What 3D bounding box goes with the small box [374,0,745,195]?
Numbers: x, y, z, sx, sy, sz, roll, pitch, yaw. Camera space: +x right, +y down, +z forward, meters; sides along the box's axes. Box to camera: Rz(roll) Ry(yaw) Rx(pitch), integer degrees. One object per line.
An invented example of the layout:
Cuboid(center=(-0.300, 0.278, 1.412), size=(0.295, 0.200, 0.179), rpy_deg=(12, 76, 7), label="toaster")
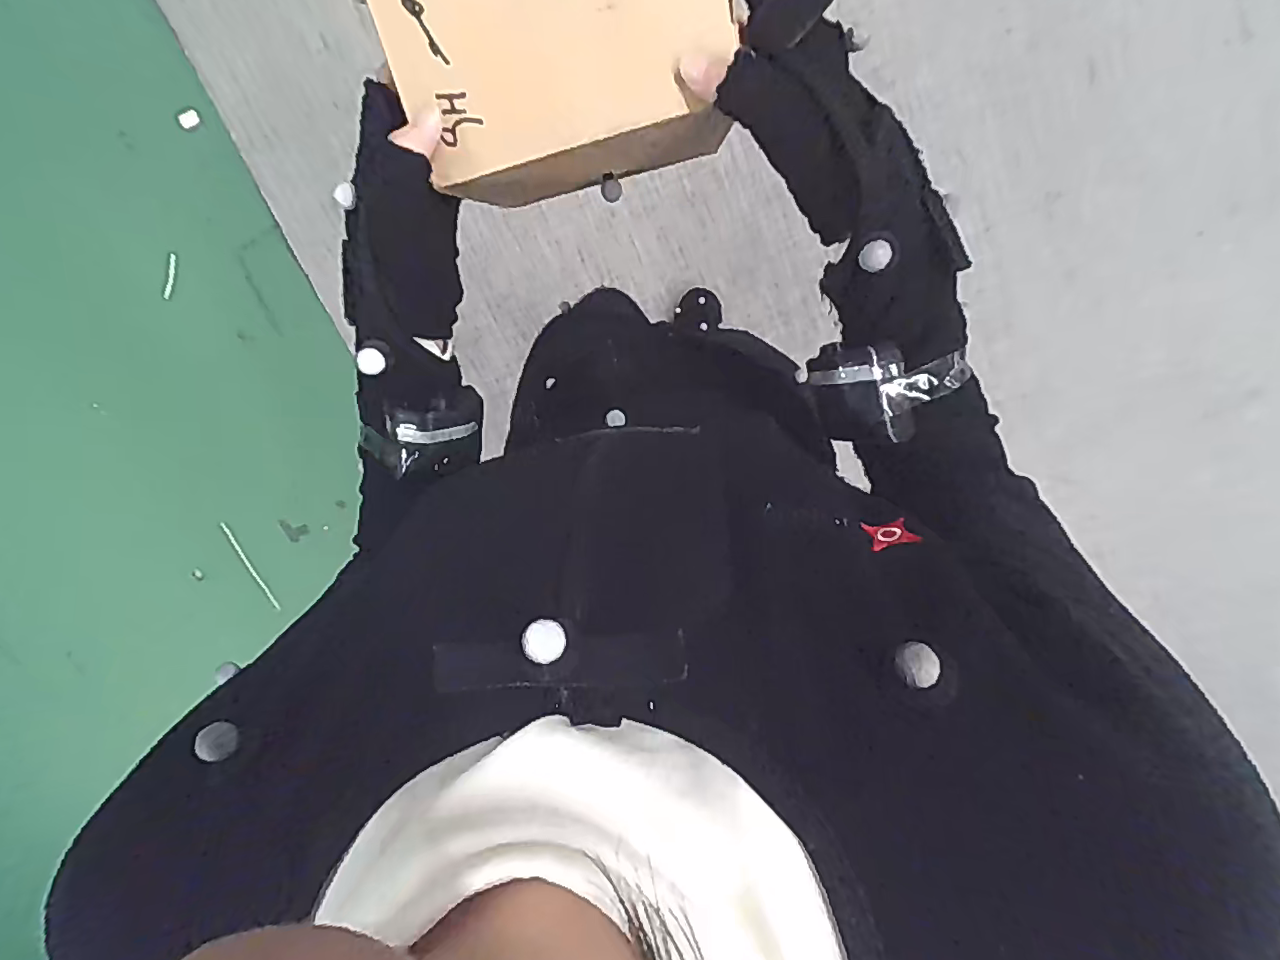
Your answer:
Cuboid(center=(-0.047, -0.289, 0.327), size=(0.179, 0.176, 0.168), rpy_deg=(-12, 111, 6), label="small box")
